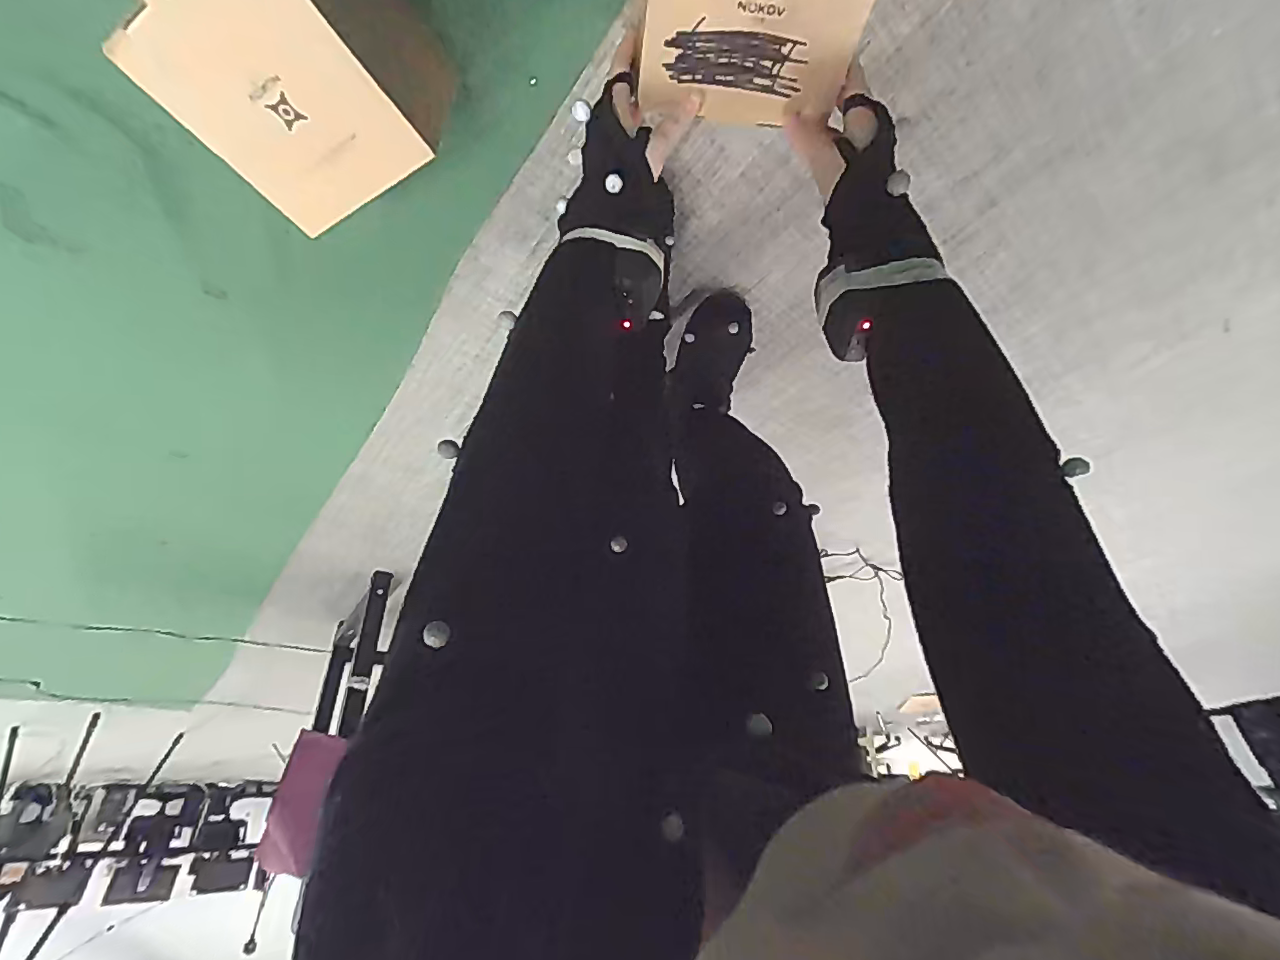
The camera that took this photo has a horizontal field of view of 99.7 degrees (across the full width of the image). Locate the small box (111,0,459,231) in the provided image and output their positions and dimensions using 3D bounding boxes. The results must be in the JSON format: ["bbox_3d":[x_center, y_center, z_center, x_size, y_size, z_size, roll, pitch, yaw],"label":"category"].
[{"bbox_3d":[-0.290,-0.374,0.484,0.168,0.176,0.179,-17,144,21],"label":"small box"}]
